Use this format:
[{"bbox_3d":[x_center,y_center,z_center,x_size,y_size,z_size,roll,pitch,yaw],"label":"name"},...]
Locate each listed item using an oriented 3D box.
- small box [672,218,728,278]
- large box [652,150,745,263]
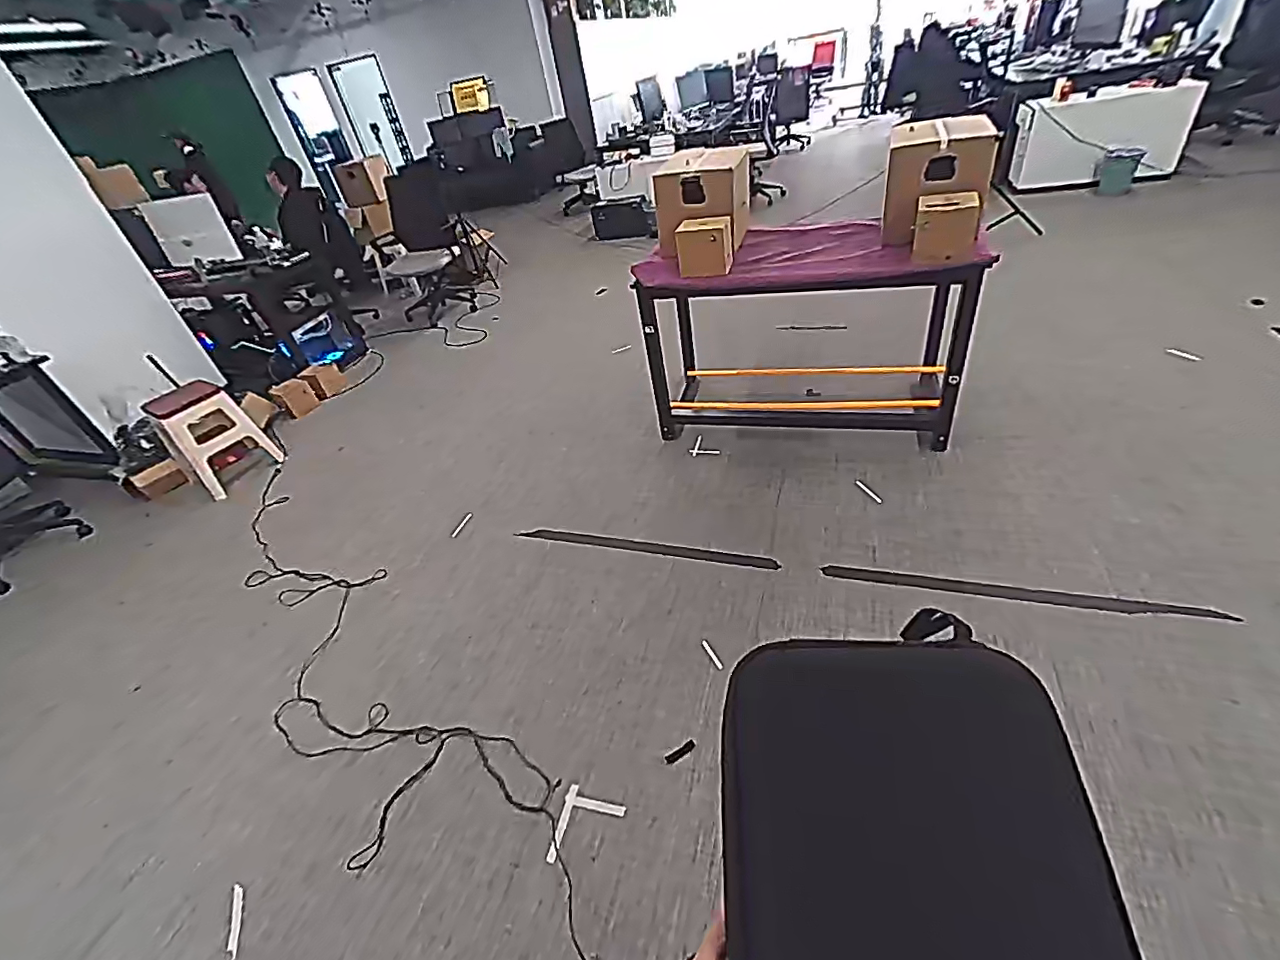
[{"bbox_3d":[0.230,-0.863,2.018,0.179,0.176,0.168,3,39,17],"label":"small box"},{"bbox_3d":[0.258,-1.133,2.236,0.320,0.320,0.408,4,43,18],"label":"large box"}]
